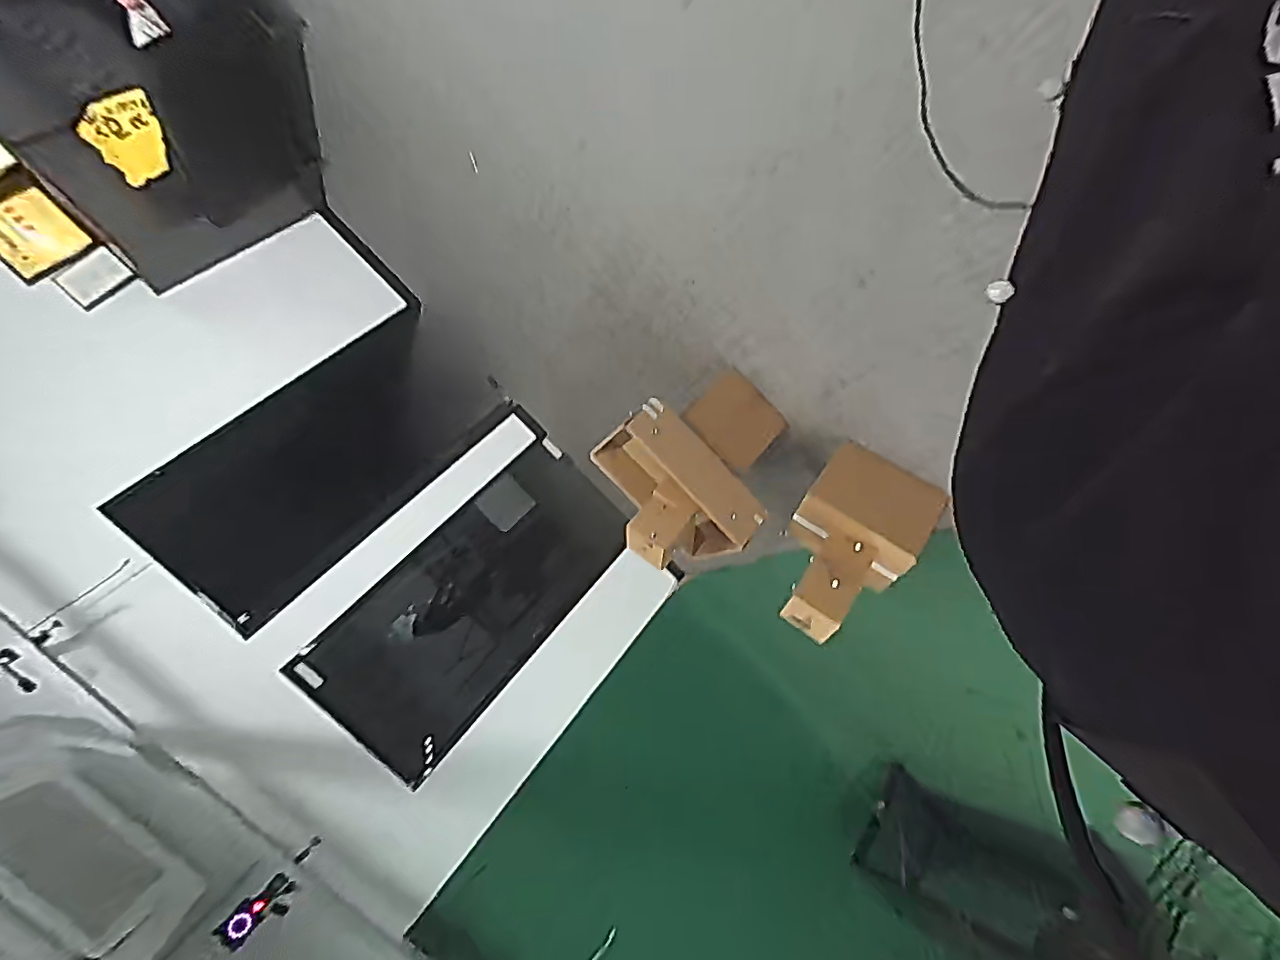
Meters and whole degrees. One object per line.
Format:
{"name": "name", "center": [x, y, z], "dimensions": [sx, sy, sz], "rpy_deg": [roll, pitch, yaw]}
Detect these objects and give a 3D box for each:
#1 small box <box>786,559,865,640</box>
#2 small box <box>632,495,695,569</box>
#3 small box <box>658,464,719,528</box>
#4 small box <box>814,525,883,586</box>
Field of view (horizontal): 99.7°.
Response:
{"name": "small box", "center": [0.612, 0.393, 1.783], "dimensions": [0.168, 0.176, 0.179], "rpy_deg": [33, 152, 18]}
{"name": "small box", "center": [0.086, 0.189, 1.974], "dimensions": [0.168, 0.176, 0.179], "rpy_deg": [33, 153, 20]}
{"name": "small box", "center": [0.177, 0.069, 2.041], "dimensions": [0.168, 0.176, 0.179], "rpy_deg": [36, 154, 15]}
{"name": "small box", "center": [0.711, 0.291, 1.864], "dimensions": [0.168, 0.176, 0.179], "rpy_deg": [31, 152, 22]}
